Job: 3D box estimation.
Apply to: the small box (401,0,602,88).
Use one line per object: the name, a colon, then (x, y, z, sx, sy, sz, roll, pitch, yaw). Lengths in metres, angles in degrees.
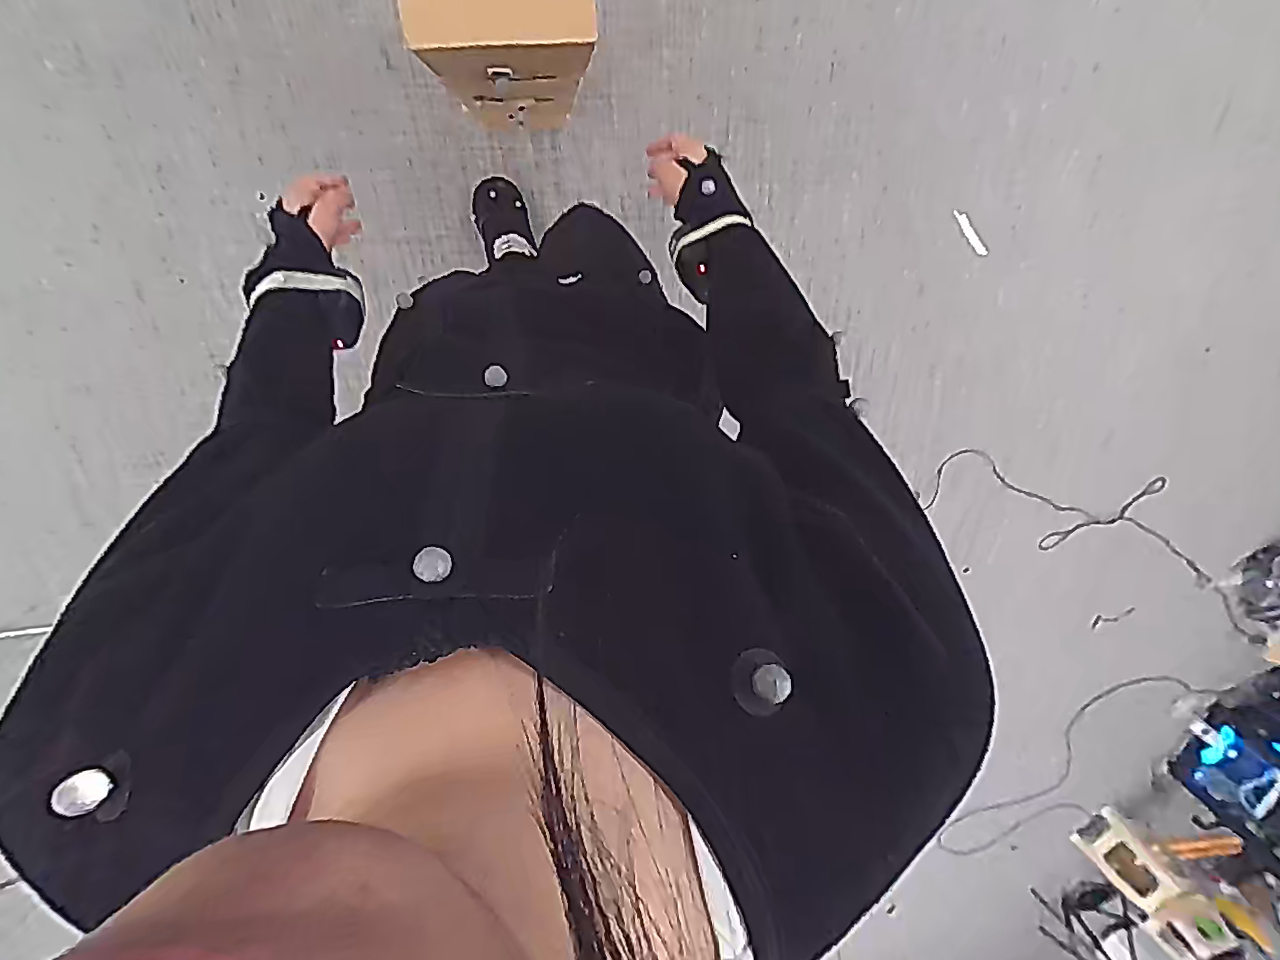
small box: (-0.130, -0.481, 0.496, 0.168, 0.176, 0.179, -7, 120, -6)

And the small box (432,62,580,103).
small box: (-0.159, -0.557, 0.636, 0.168, 0.176, 0.179, -6, 118, -7)

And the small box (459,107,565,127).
small box: (-0.218, -0.706, 0.921, 0.179, 0.176, 0.168, -4, 120, -8)

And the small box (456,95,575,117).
small box: (-0.182, -0.633, 0.779, 0.168, 0.176, 0.179, -5, 120, -8)
